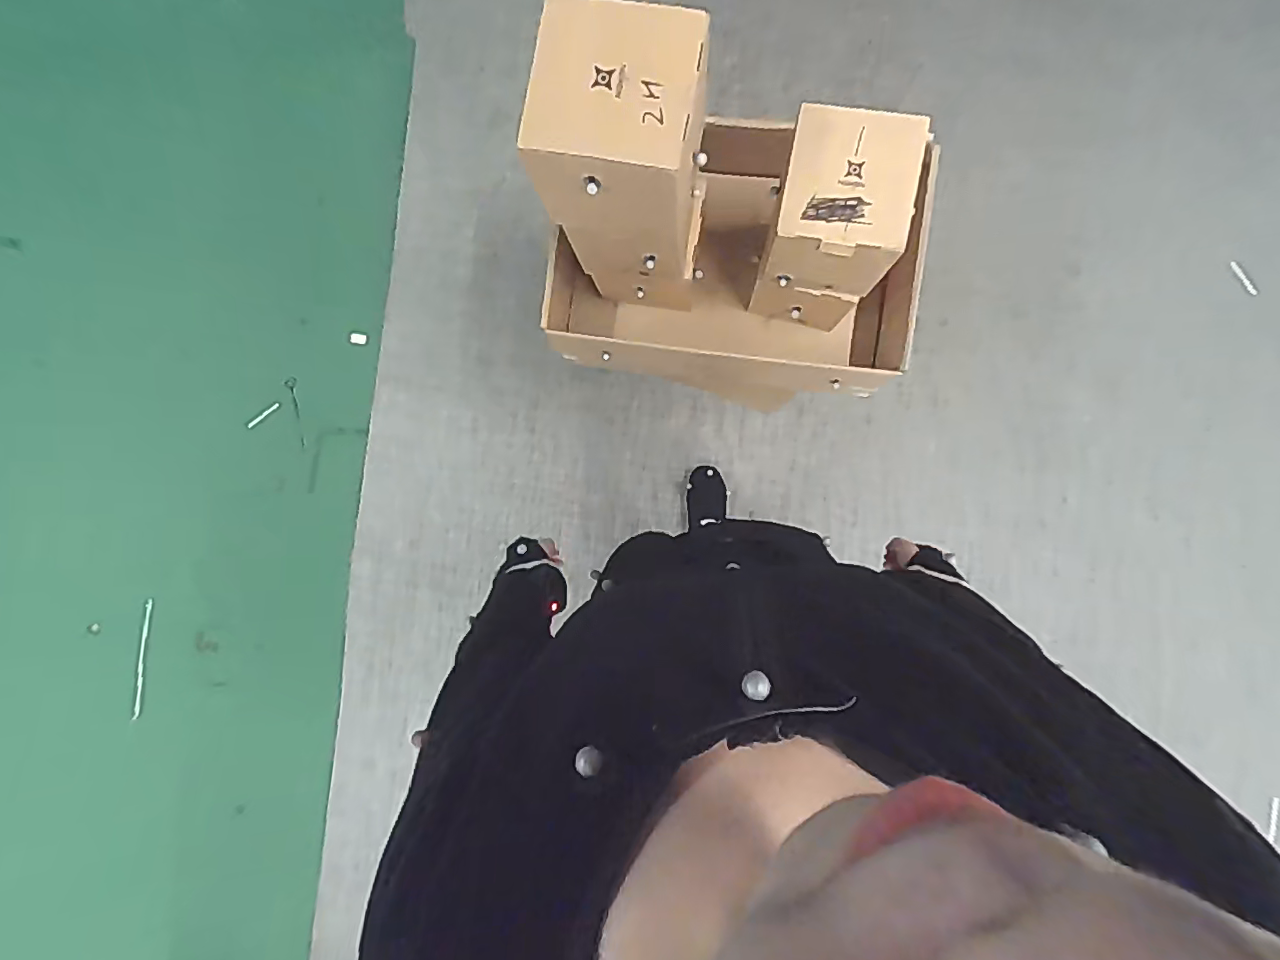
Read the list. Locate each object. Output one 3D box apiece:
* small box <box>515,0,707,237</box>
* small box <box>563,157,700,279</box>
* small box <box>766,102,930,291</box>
[{"bbox_3d":[-0.024,-0.412,0.640,0.179,0.176,0.168,12,91,6],"label":"small box"},{"bbox_3d":[-0.003,-0.418,0.803,0.168,0.176,0.179,9,90,6],"label":"small box"},{"bbox_3d":[0.280,-0.389,0.770,0.168,0.176,0.179,11,90,7],"label":"small box"}]
